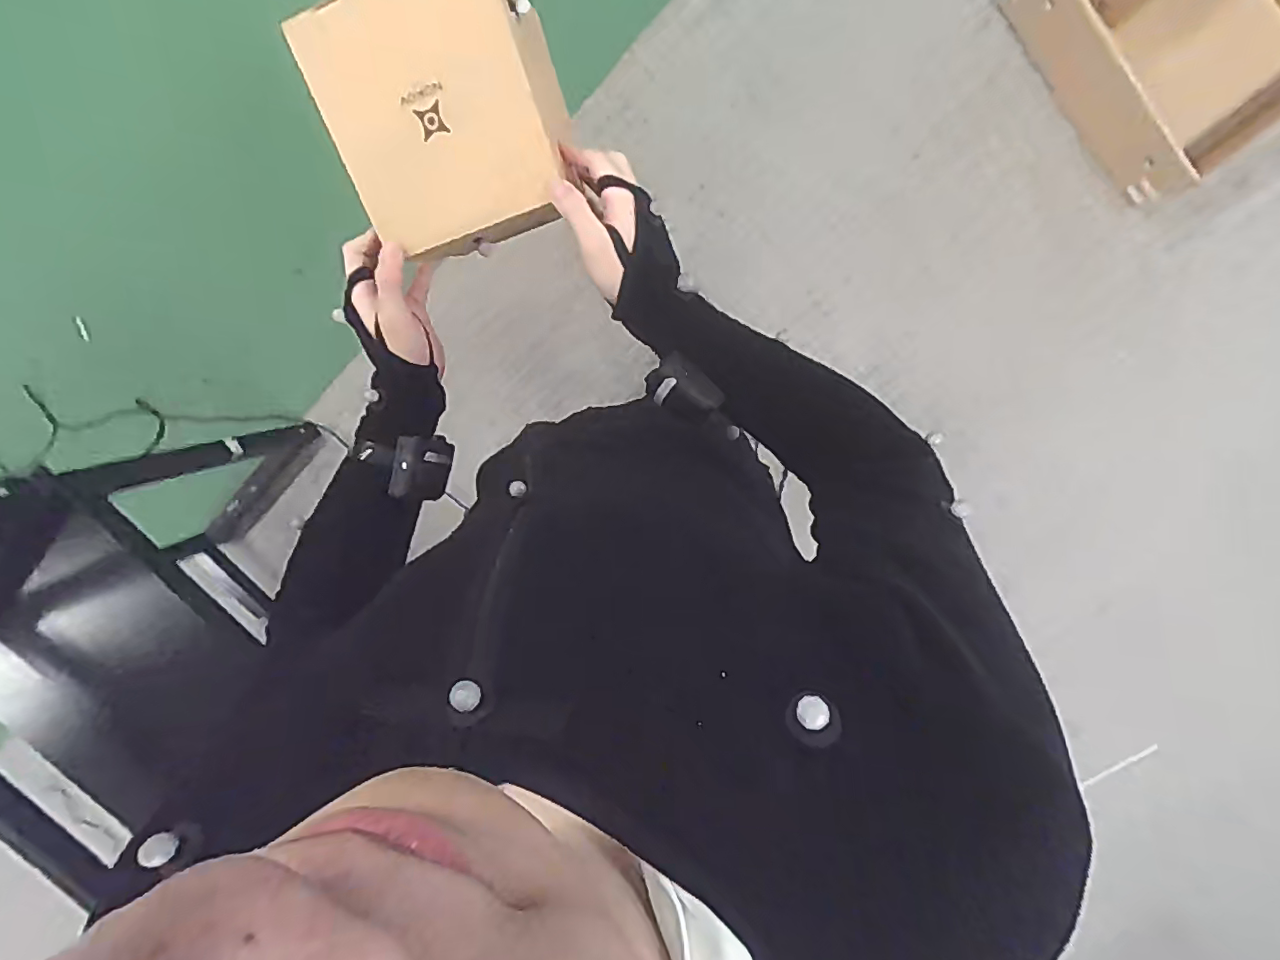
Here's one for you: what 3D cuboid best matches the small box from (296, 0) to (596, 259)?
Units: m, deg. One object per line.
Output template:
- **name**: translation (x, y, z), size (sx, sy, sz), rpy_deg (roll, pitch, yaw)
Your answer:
- **small box**: translation (-0.149, -0.318, 0.491), size (0.168, 0.176, 0.179), rpy_deg (-14, 112, 11)
